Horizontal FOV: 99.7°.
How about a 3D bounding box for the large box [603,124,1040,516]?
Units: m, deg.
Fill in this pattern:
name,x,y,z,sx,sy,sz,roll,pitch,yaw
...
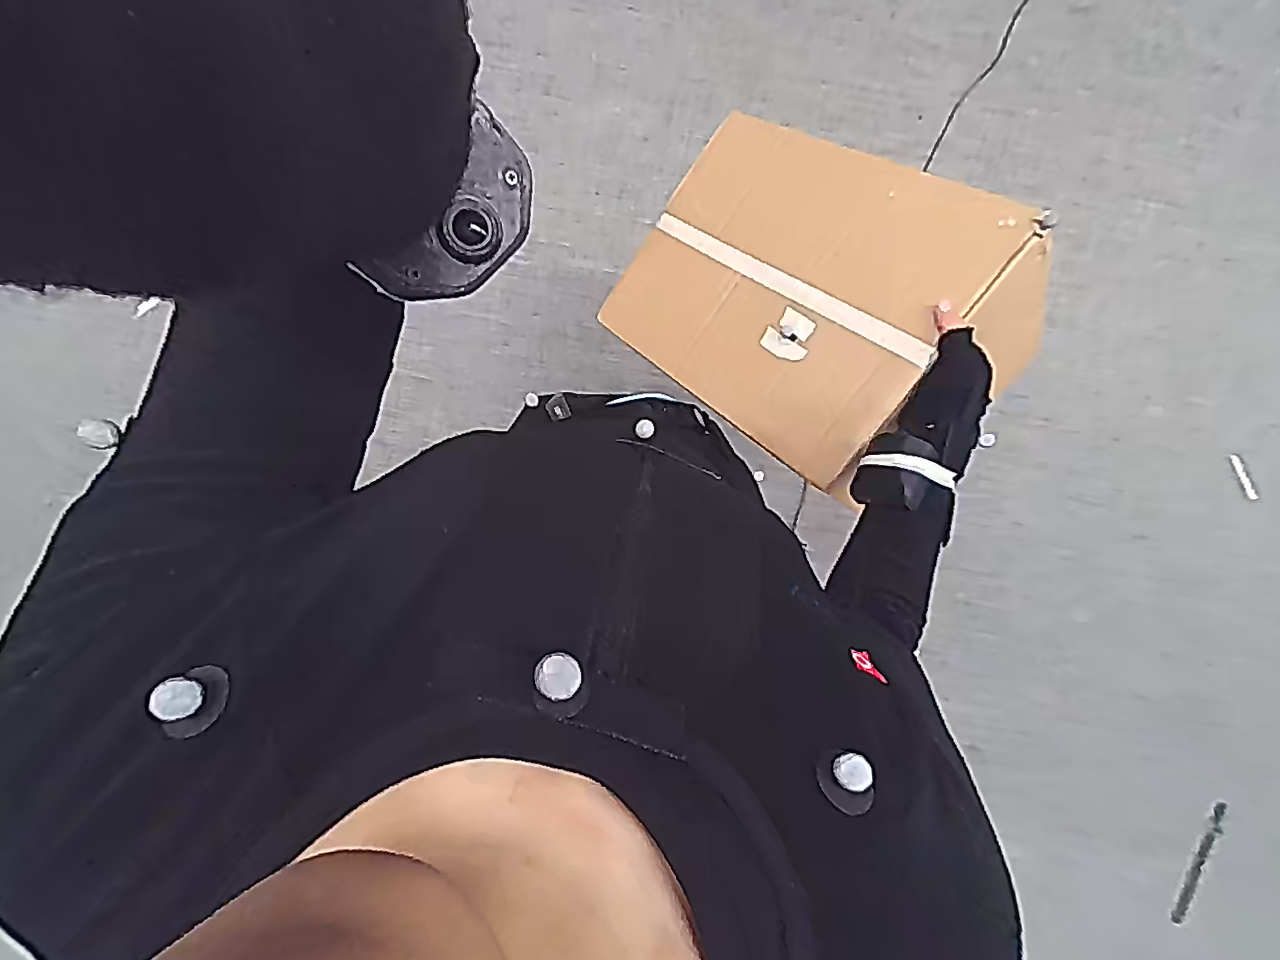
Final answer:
name,x,y,z,sx,sy,sz,roll,pitch,yaw
large box,0.233,-0.202,0.749,0.408,0.320,0.320,44,105,31
